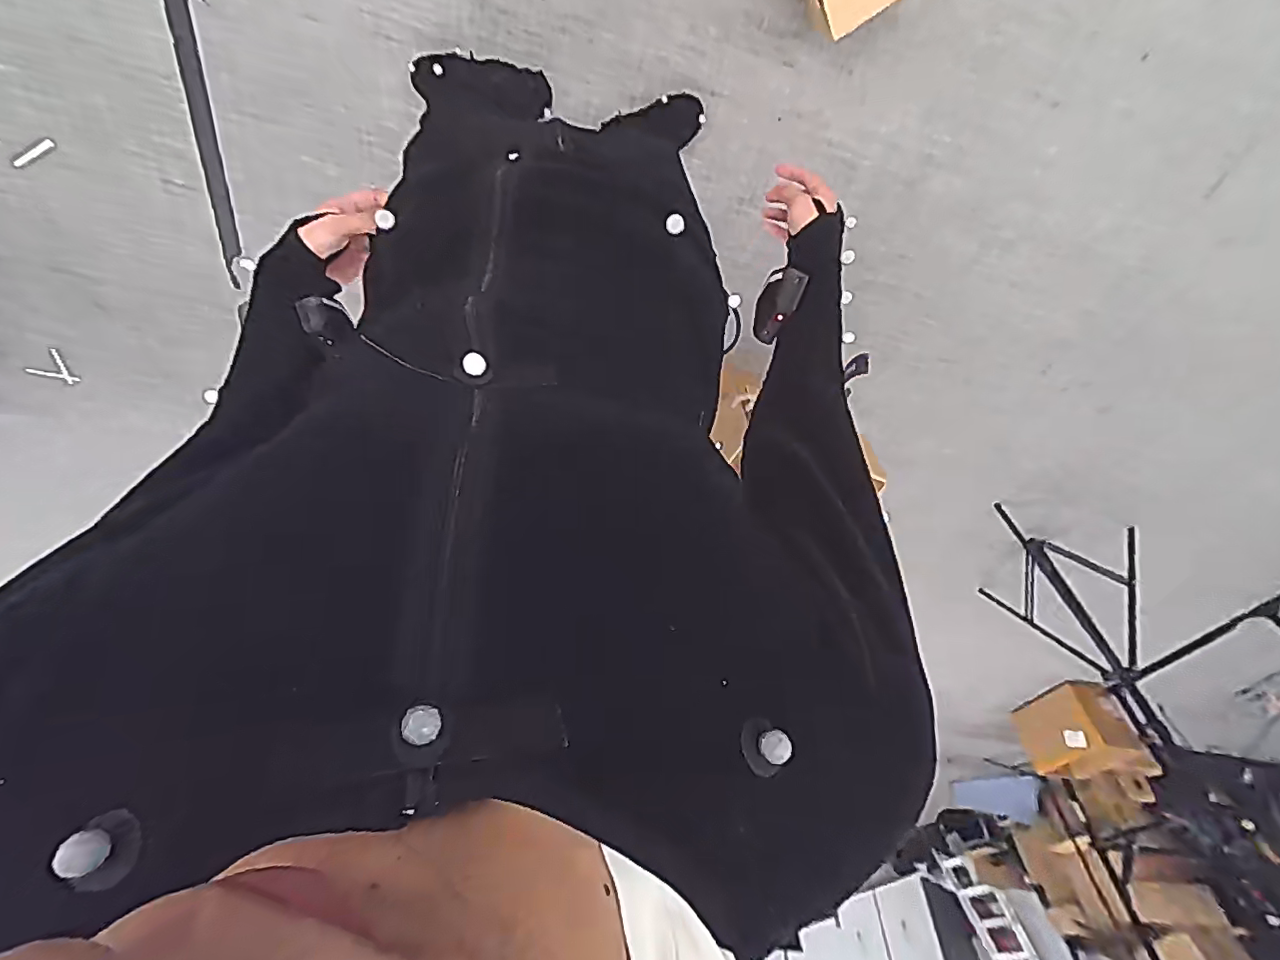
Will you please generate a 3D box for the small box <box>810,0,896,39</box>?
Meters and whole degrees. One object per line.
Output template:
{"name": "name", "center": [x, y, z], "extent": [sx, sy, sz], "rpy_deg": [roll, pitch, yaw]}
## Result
{"name": "small box", "center": [0.402, -0.965, 0.998], "extent": [0.179, 0.176, 0.168], "rpy_deg": [-22, 130, 22]}
